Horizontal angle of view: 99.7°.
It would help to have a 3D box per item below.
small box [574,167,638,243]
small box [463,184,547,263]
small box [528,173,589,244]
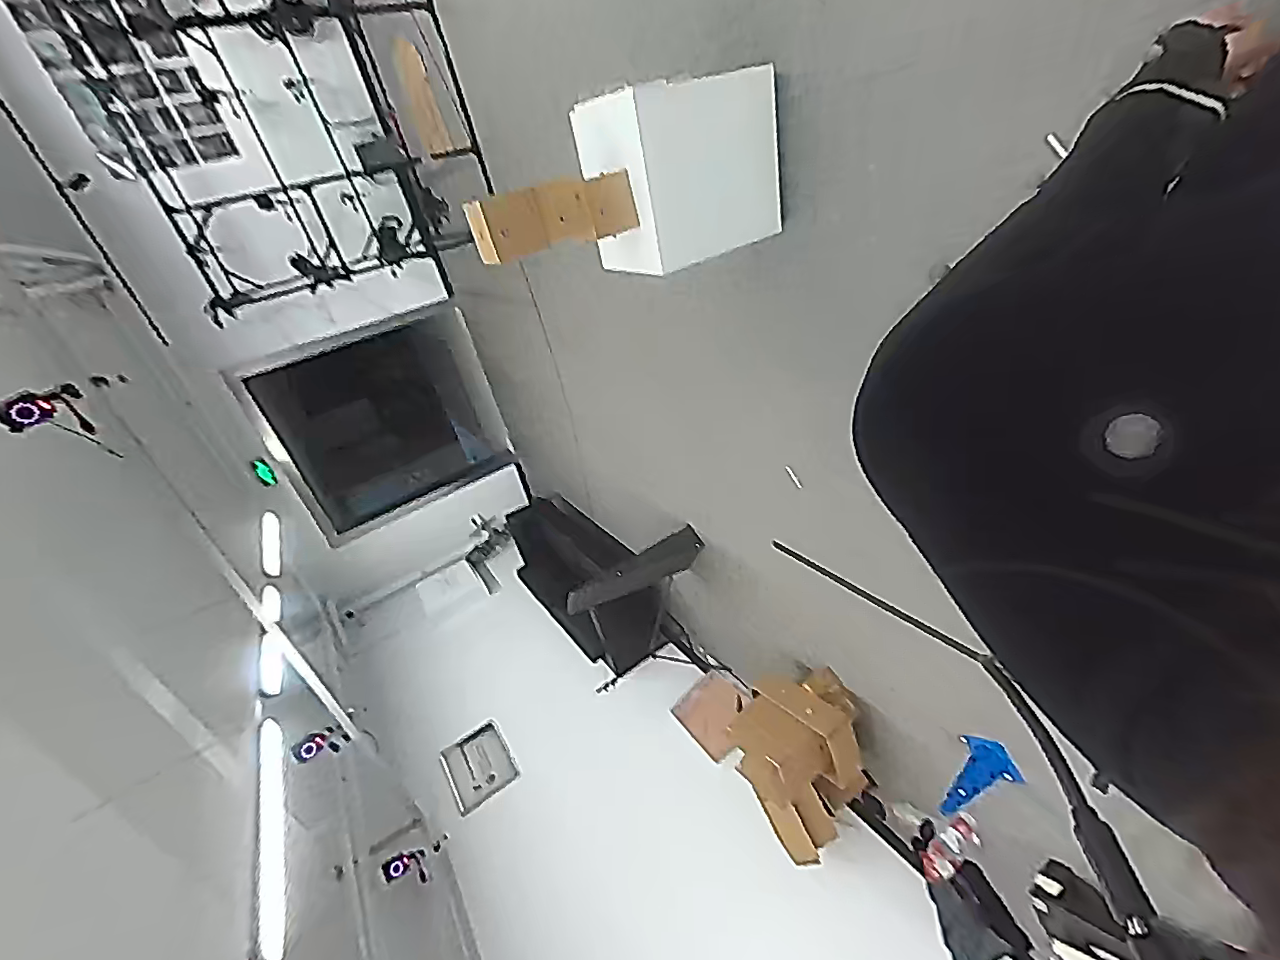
[{"bbox_3d":[-0.128,-0.891,1.758,0.168,0.176,0.179,25,137,55],"label":"small box"},{"bbox_3d":[-0.401,-0.768,1.625,0.168,0.176,0.179,30,141,52],"label":"small box"},{"bbox_3d":[-0.274,-0.846,1.697,0.179,0.176,0.168,28,140,55],"label":"small box"}]
